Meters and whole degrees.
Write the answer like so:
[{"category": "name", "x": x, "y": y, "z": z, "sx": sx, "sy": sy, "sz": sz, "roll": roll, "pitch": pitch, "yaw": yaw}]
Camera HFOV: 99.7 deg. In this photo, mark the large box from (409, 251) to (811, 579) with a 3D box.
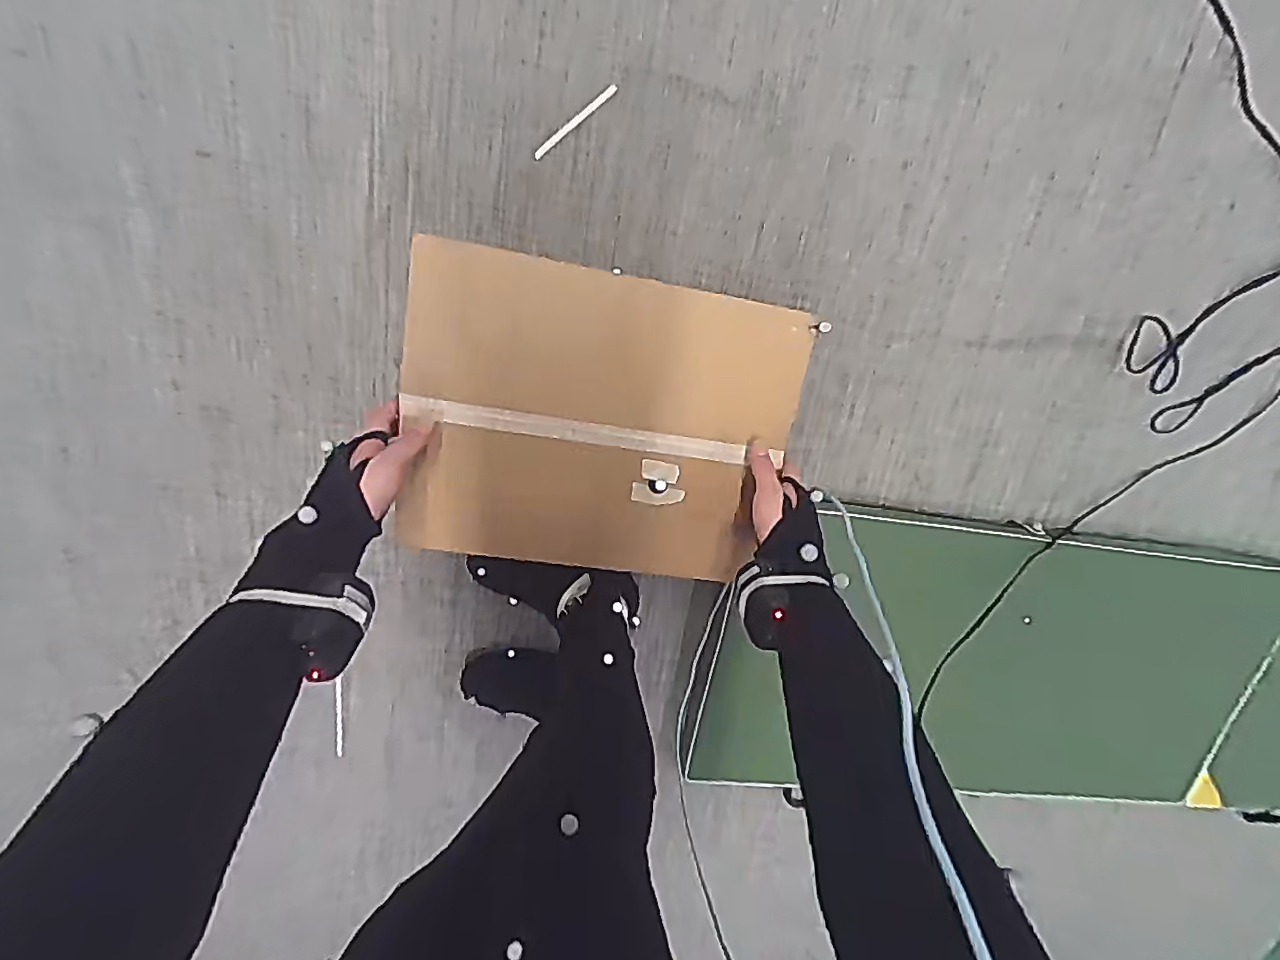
[{"category": "large box", "x": -0.055, "y": -0.088, "z": 0.721, "sx": 0.408, "sy": 0.320, "sz": 0.320, "roll": 8, "pitch": 105, "yaw": -11}]
